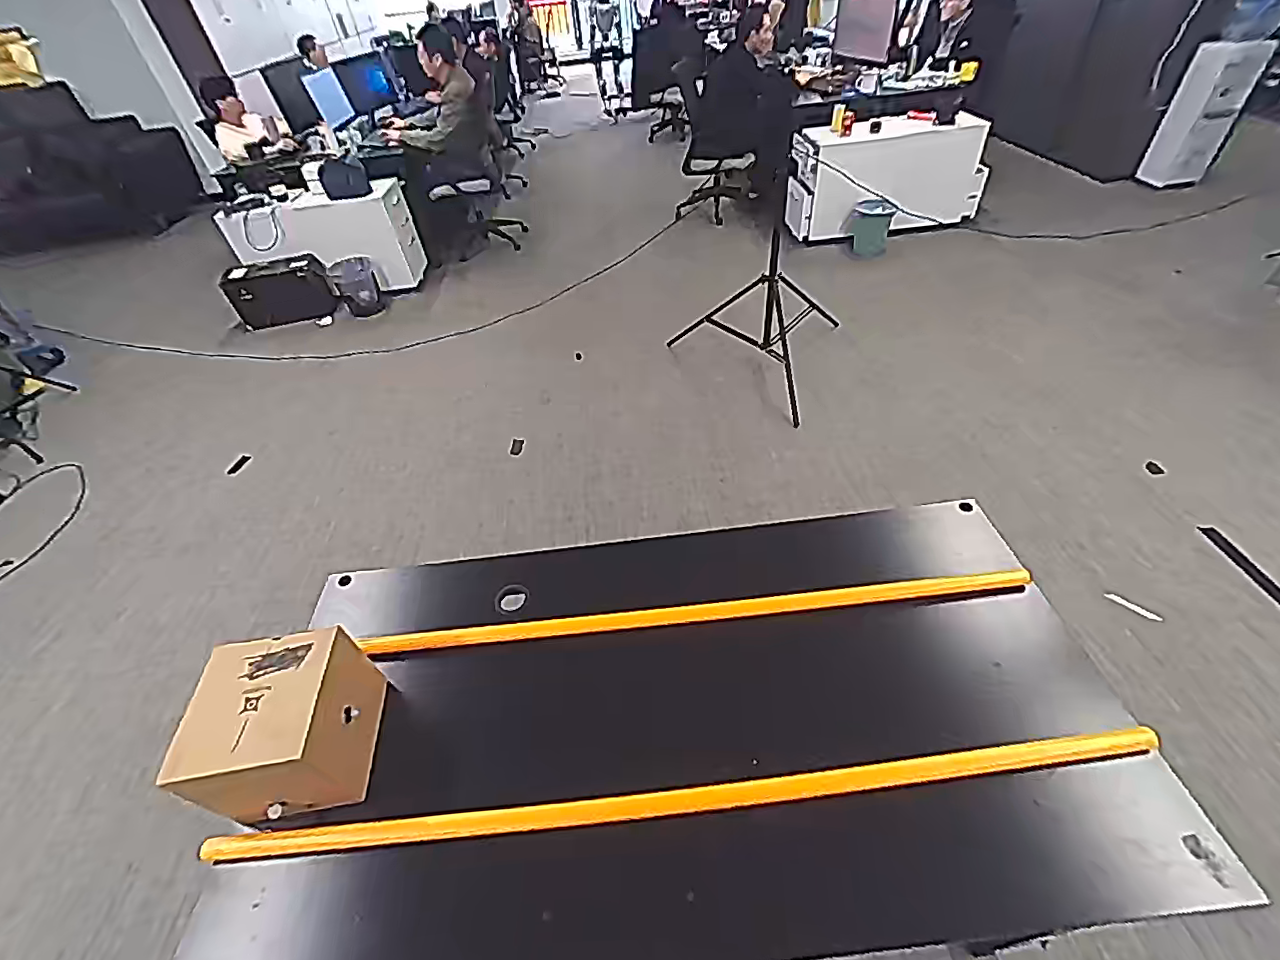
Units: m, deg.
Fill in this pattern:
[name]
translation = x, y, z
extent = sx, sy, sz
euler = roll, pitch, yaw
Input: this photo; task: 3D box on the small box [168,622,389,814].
[small box]
translation = -0.463, 0.321, 0.733
extent = 0.168, 0.176, 0.179
euler = -9, 45, -2
